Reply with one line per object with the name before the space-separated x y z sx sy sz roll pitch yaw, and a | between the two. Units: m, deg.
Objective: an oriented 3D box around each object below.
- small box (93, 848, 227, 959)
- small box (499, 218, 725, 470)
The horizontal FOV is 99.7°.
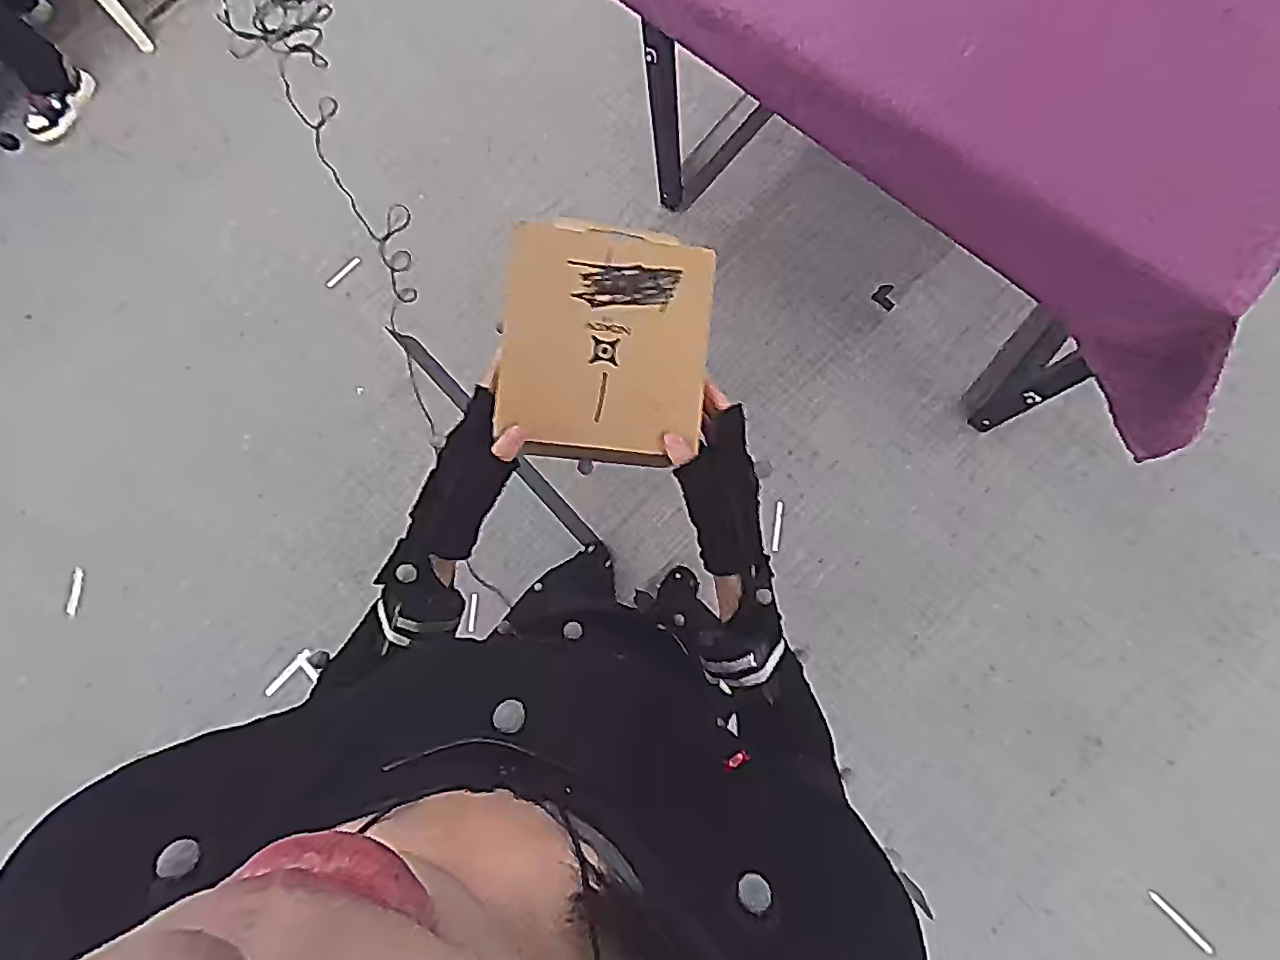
small box | -1.256 1.115 1.425 0.168 0.176 0.179 -41 77 -3
small box | -0.030 -0.108 0.508 0.168 0.176 0.179 7 88 -7
